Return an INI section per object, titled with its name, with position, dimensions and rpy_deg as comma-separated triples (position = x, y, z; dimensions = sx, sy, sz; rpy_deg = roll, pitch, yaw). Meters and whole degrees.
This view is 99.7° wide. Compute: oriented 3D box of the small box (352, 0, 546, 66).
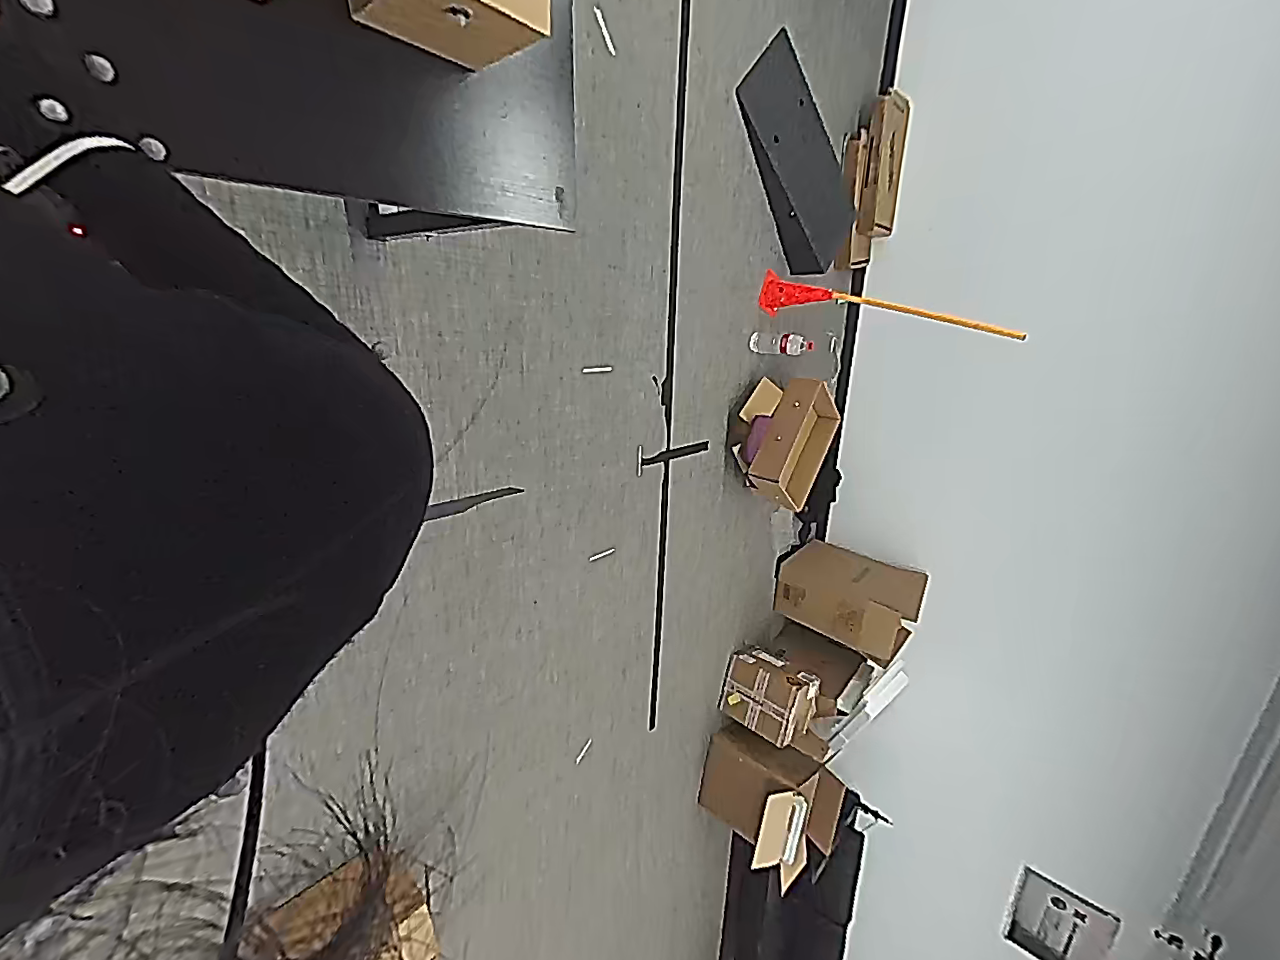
[small box]
position = -0.233, -0.637, 0.649
dimensions = 0.179, 0.176, 0.168
rpy_deg = -15, 114, -47
